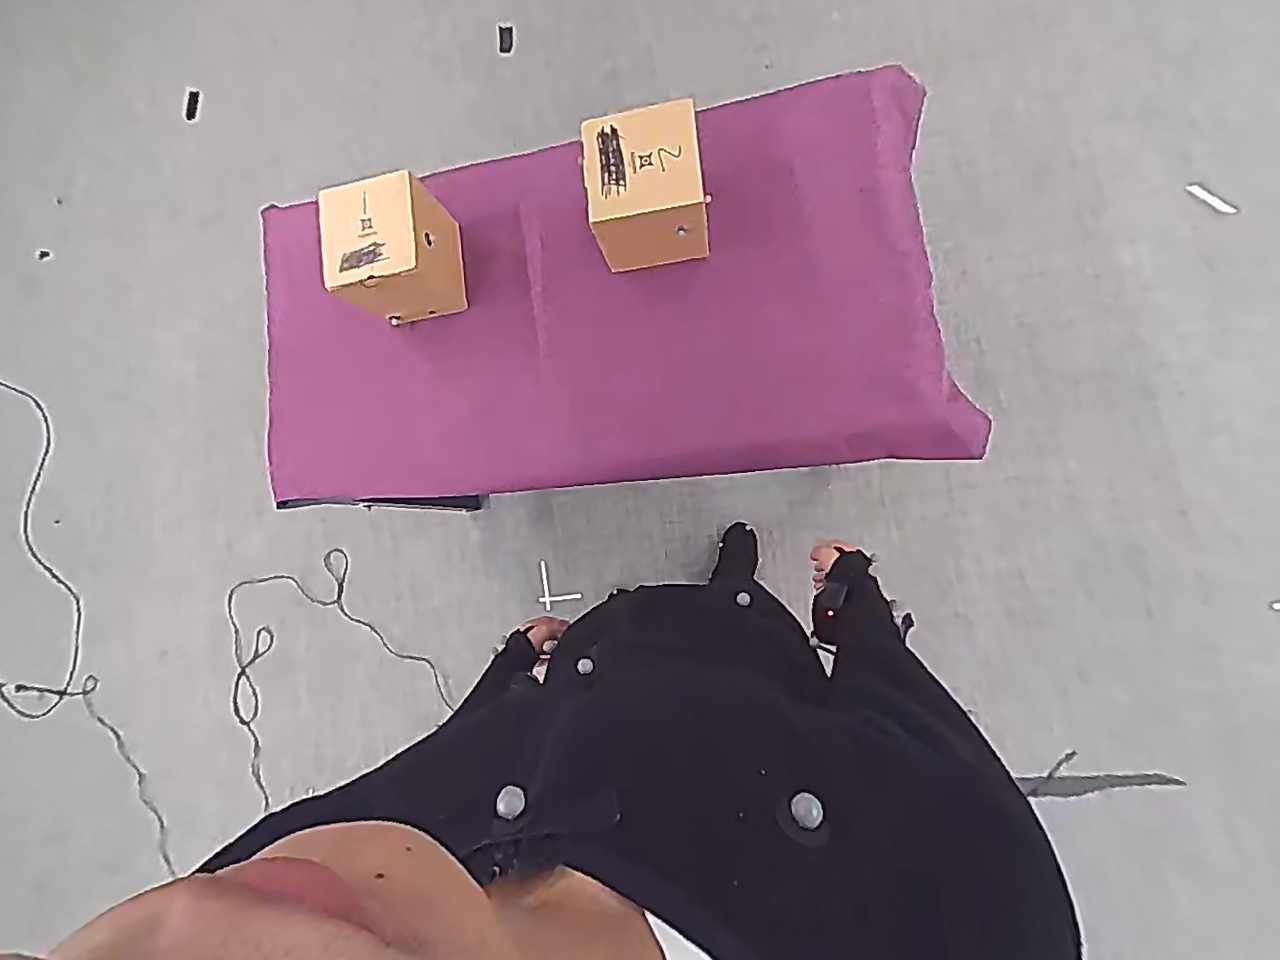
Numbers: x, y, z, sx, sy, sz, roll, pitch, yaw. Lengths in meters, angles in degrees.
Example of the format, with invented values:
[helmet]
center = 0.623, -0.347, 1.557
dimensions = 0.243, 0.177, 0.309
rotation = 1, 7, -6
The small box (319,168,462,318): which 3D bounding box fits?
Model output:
[small box]
center = -0.430, -0.402, 0.955
dimensions = 0.168, 0.176, 0.179
rotation = -8, 84, 8
